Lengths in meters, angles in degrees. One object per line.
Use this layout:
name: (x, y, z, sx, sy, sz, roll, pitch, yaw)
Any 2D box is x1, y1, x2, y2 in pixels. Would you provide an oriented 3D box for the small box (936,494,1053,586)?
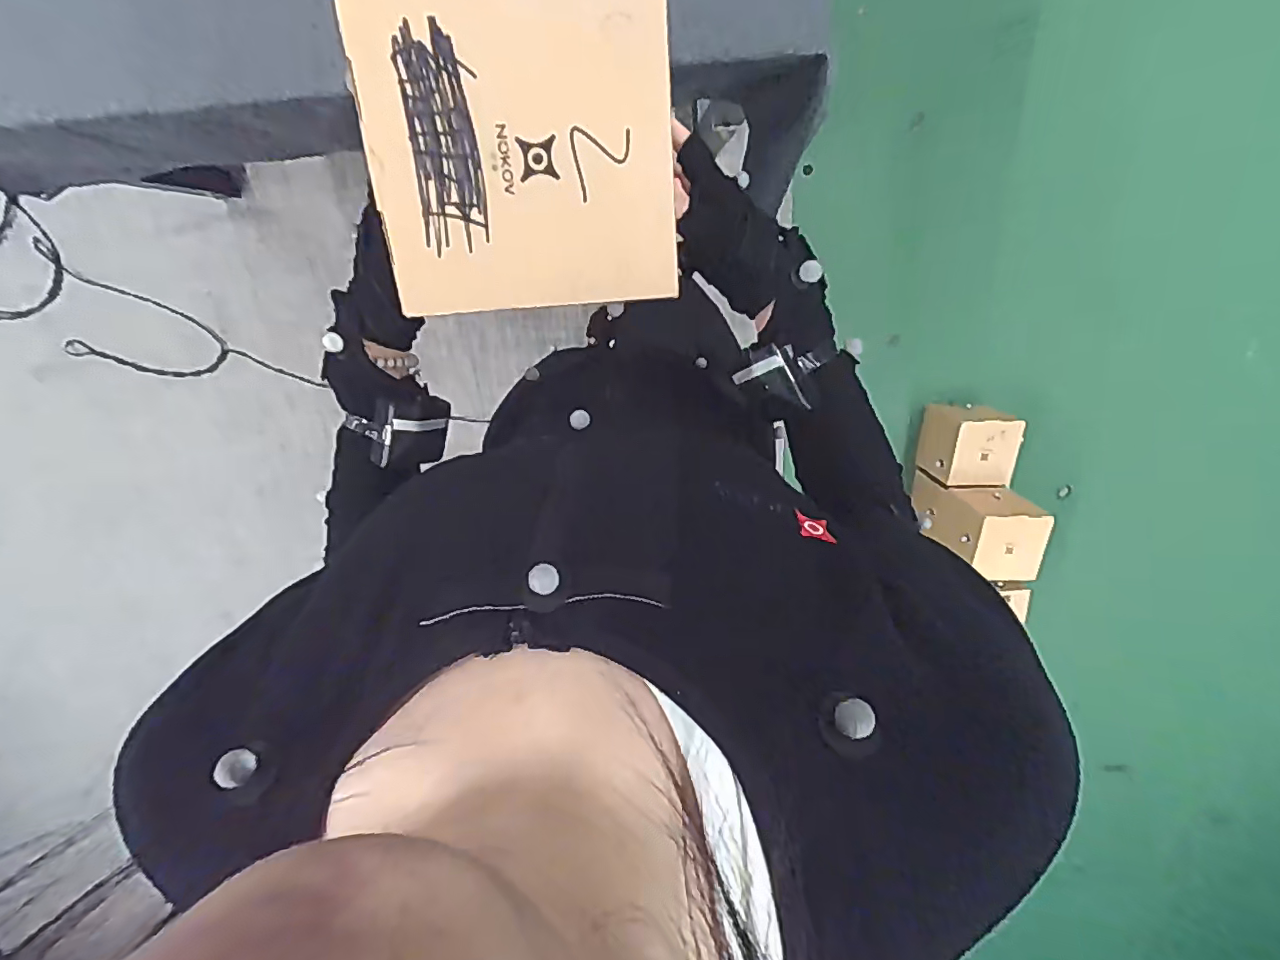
small box: (0.880, 0.148, 1.363, 0.168, 0.176, 0.179, 1, 110, -1)
